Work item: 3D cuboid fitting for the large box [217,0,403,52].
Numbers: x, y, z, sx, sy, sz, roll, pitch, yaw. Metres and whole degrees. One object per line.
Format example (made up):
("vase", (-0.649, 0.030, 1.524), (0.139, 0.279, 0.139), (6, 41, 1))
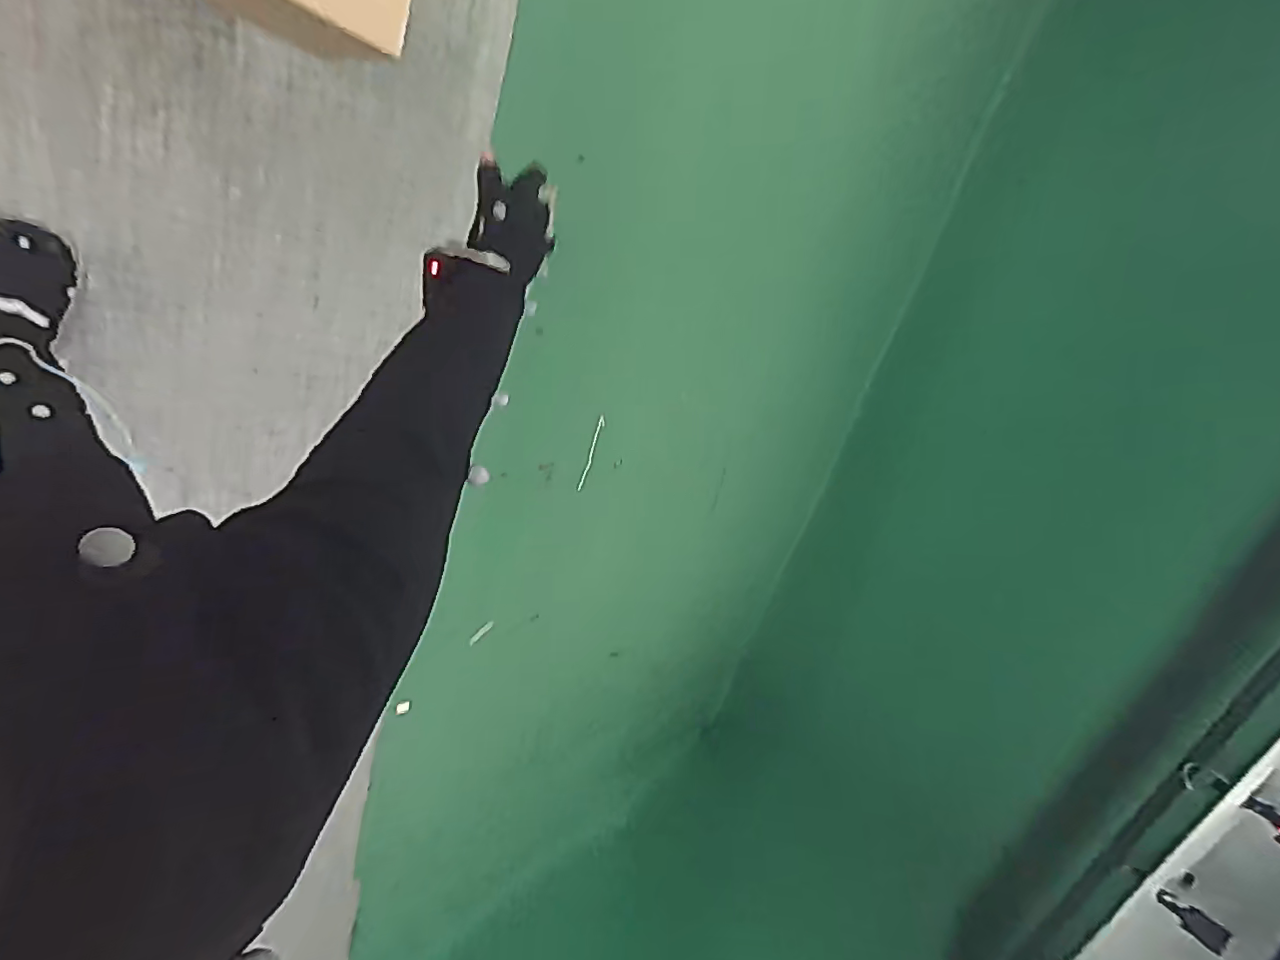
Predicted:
("large box", (-0.533, -0.798, 0.658), (0.408, 0.320, 0.320), (-3, 118, -49))
